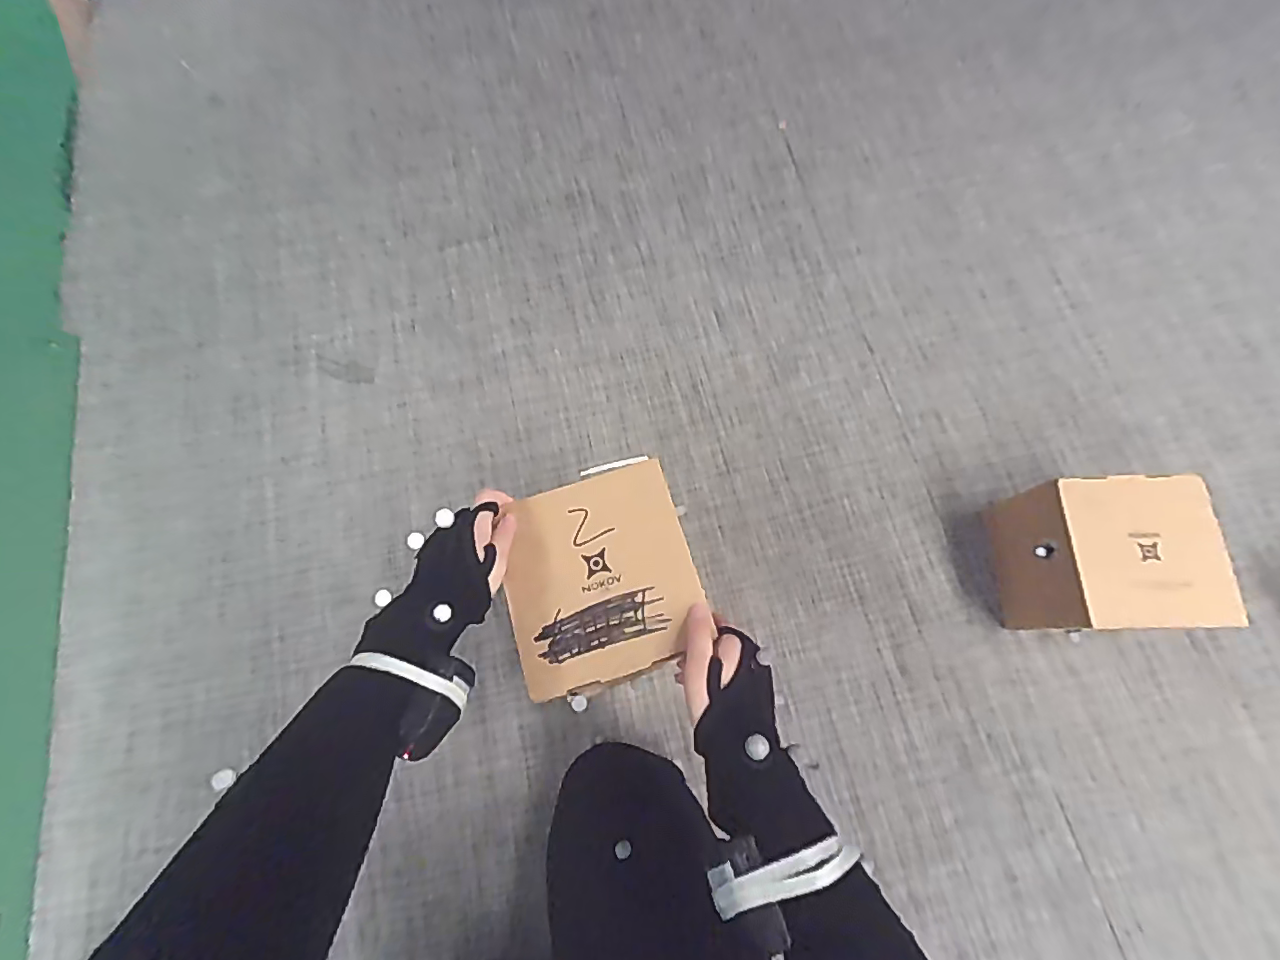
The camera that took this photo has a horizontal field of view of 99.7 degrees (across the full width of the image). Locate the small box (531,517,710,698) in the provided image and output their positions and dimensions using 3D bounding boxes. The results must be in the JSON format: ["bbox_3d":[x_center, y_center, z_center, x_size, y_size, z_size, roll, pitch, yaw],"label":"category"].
[{"bbox_3d":[-0.020,0.169,0.706,0.179,0.176,0.168,-20,73,-3],"label":"small box"}]

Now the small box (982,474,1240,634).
[{"bbox_3d":[0.576,0.102,0.694,0.168,0.176,0.179,-2,72,4],"label":"small box"}]
